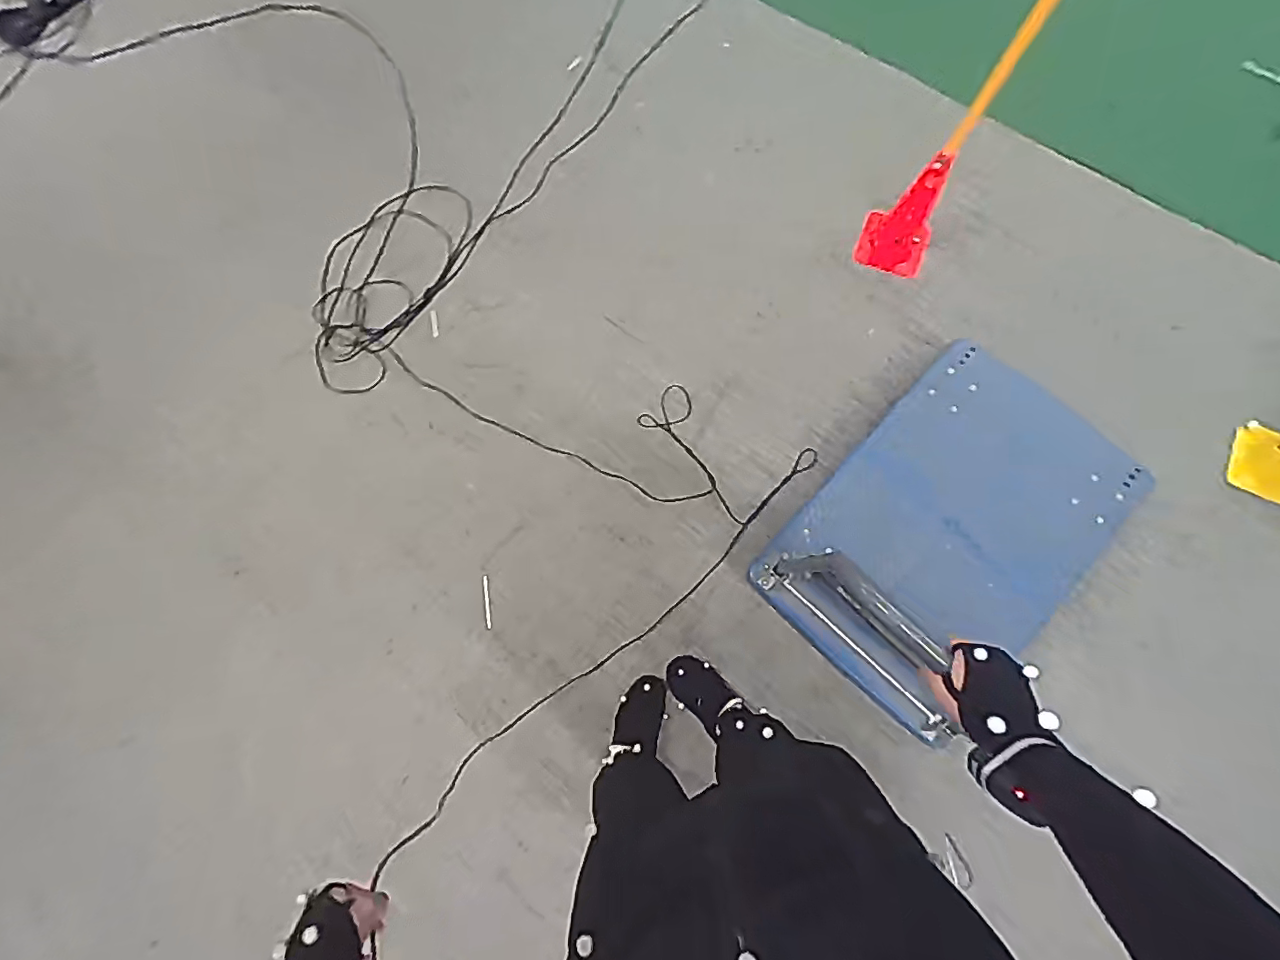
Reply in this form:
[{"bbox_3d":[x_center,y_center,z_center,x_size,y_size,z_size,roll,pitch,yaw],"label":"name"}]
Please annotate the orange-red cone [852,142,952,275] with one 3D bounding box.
[{"bbox_3d":[0.768,-0.783,1.517,0.199,0.360,0.198,21,78,9],"label":"orange-red cone"}]
